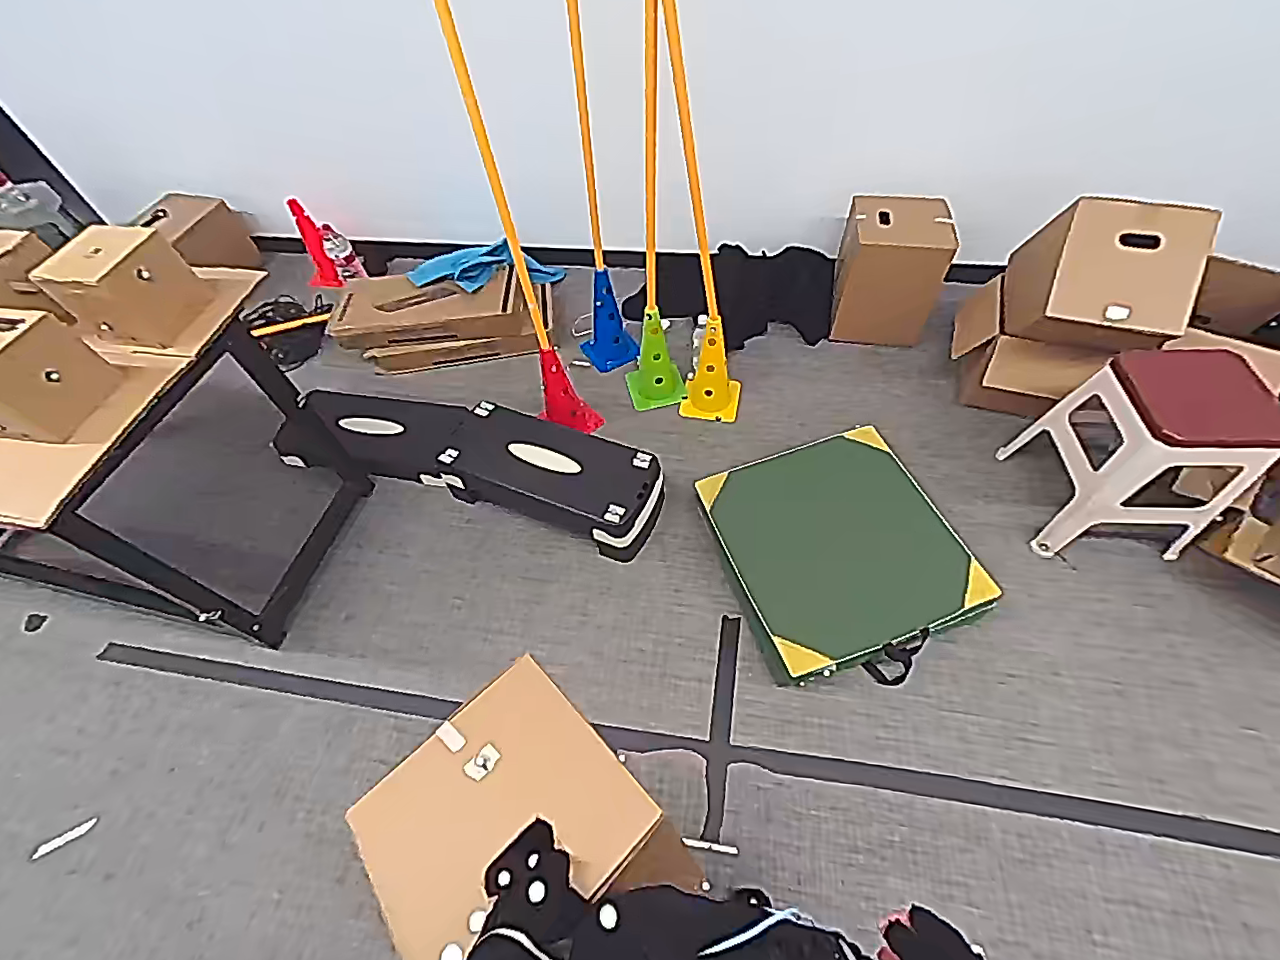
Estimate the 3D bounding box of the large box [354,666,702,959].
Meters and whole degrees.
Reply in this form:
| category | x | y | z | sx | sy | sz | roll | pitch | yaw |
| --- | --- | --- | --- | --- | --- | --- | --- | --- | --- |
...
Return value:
| category | x | y | z | sx | sy | sz | roll | pitch | yaw |
| --- | --- | --- | --- | --- | --- | --- | --- | --- | --- |
| large box | -0.144 | 0.565 | 0.828 | 0.320 | 0.408 | 0.320 | -39 | 48 | -20 |
